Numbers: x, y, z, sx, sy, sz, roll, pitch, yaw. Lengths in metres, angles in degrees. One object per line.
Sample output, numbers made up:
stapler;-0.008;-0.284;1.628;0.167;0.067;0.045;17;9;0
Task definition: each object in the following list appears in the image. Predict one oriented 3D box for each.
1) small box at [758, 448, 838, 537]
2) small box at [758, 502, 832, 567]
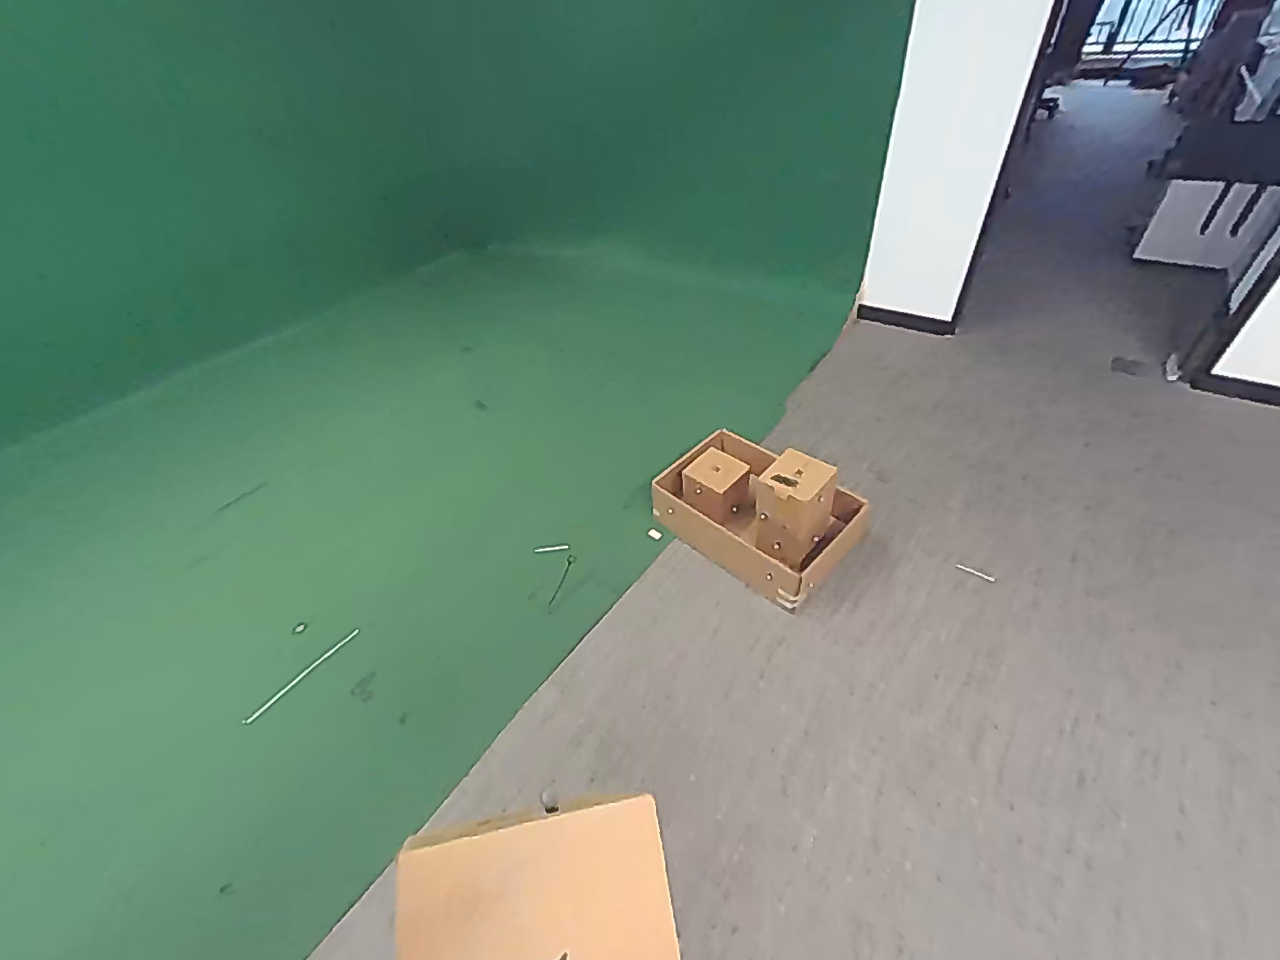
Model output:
small box;0.471;0.039;1.621;0.168;0.176;0.179;29;55;34
small box;0.498;0.148;1.742;0.168;0.176;0.179;28;55;32
